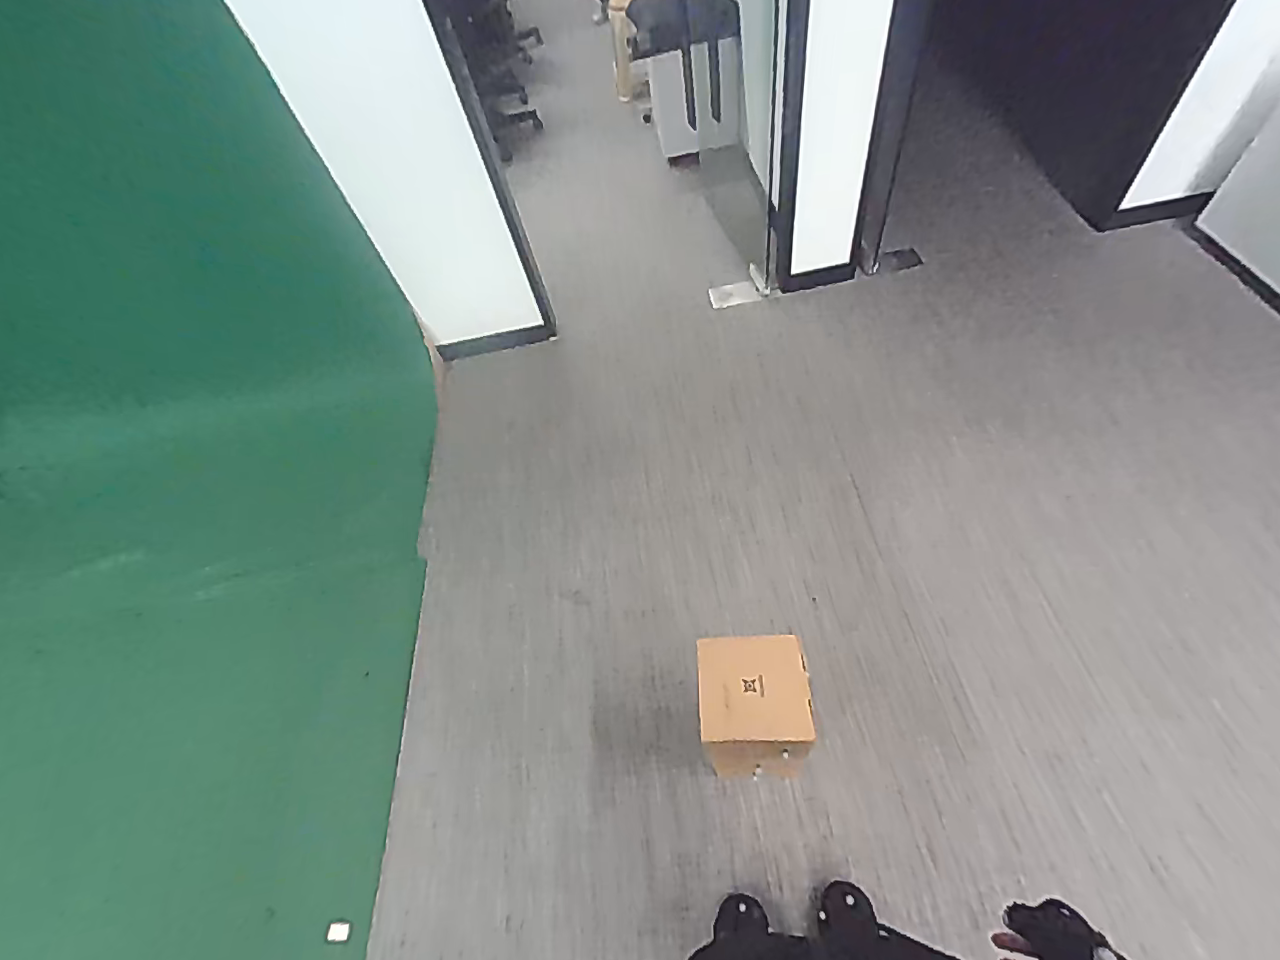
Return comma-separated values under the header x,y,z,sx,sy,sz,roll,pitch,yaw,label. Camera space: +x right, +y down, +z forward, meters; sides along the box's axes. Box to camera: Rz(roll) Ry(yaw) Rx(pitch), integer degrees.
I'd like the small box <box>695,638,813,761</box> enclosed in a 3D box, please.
x,y,z,sx,sy,sz,roll,pitch,yaw,label
0.192,0.384,0.939,0.179,0.176,0.168,-6,53,9,small box

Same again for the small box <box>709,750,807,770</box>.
x,y,z,sx,sy,sz,roll,pitch,yaw,label
0.221,0.475,1.073,0.179,0.176,0.168,-7,56,8,small box

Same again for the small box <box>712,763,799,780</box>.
x,y,z,sx,sy,sz,roll,pitch,yaw,label
0.249,0.564,1.204,0.179,0.176,0.168,-6,54,9,small box
